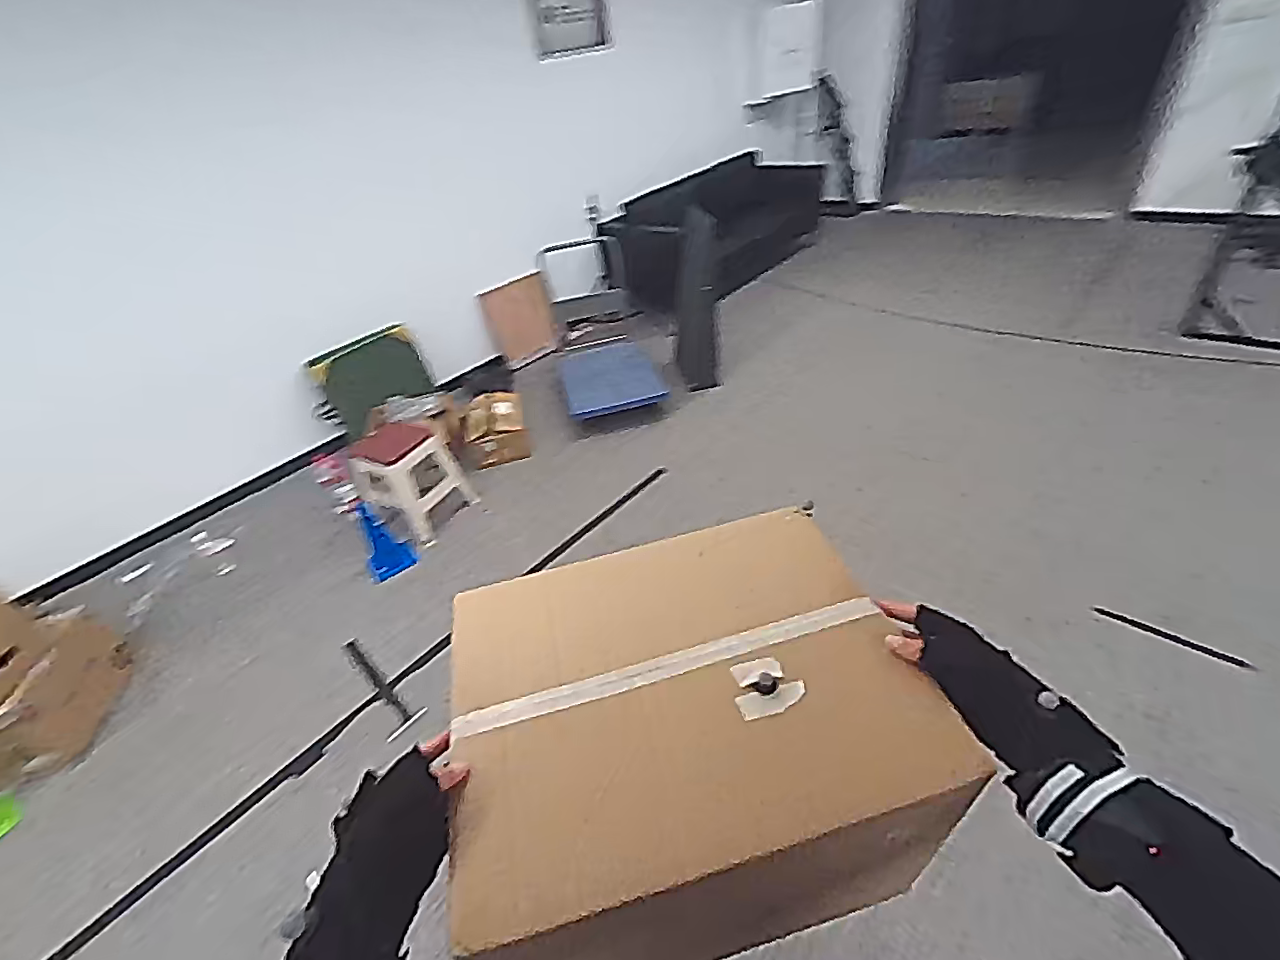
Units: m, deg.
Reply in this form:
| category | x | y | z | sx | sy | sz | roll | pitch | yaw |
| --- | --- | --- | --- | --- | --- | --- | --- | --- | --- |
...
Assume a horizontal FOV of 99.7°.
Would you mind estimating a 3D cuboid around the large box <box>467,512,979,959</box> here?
| category | x | y | z | sx | sy | sz | roll | pitch | yaw |
| --- | --- | --- | --- | --- | --- | --- | --- | --- | --- |
| large box | 0.053 | 0.290 | 0.599 | 0.408 | 0.320 | 0.320 | -14 | 40 | -7 |
